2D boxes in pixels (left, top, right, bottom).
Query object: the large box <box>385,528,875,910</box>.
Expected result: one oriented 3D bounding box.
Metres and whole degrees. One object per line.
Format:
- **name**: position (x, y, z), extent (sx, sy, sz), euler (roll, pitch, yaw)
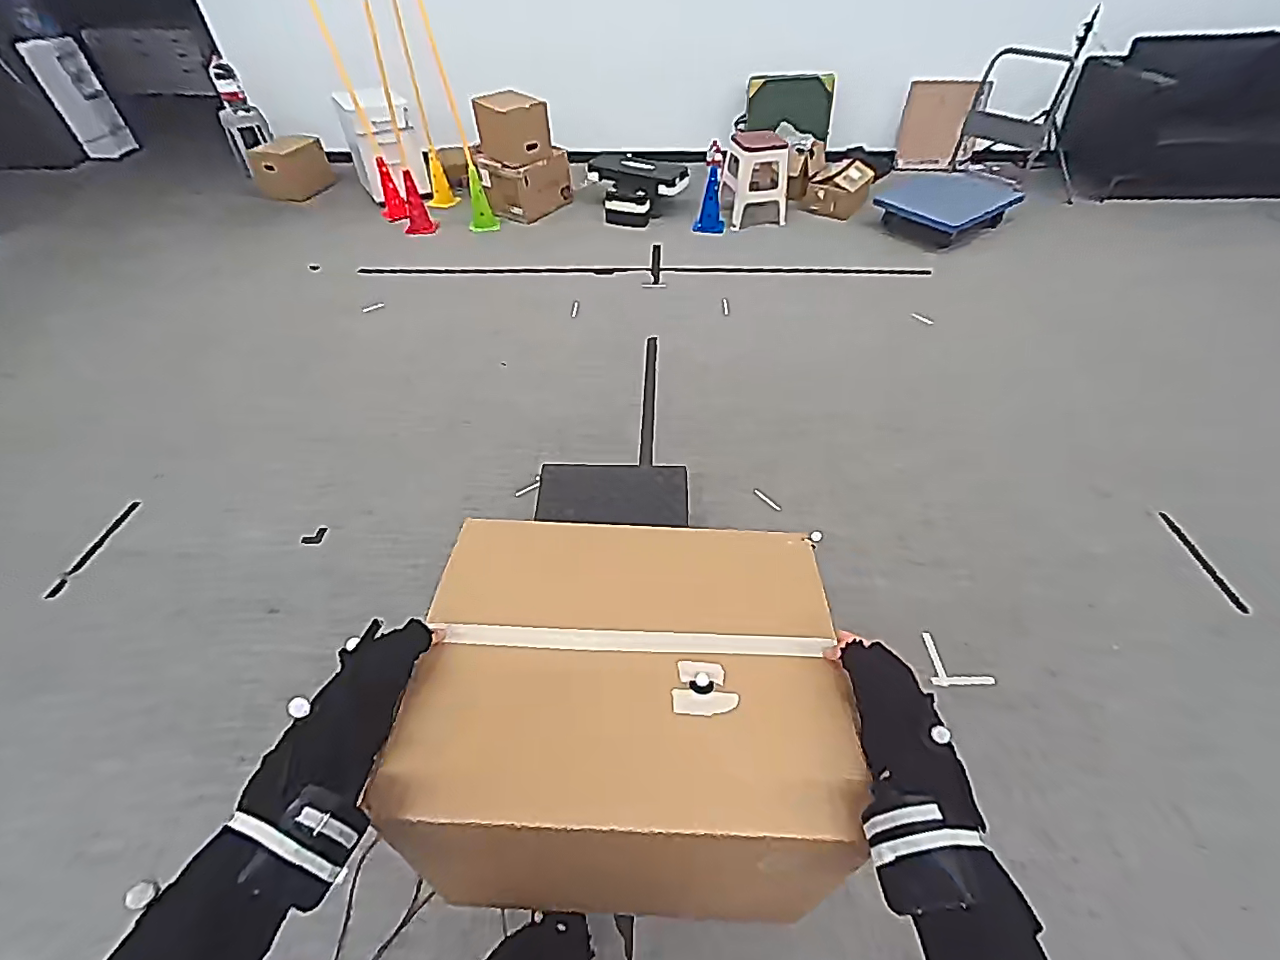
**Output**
- **large box**: position (-0.009, 0.277, 0.638), extent (0.408, 0.320, 0.320), euler (3, 42, 1)
